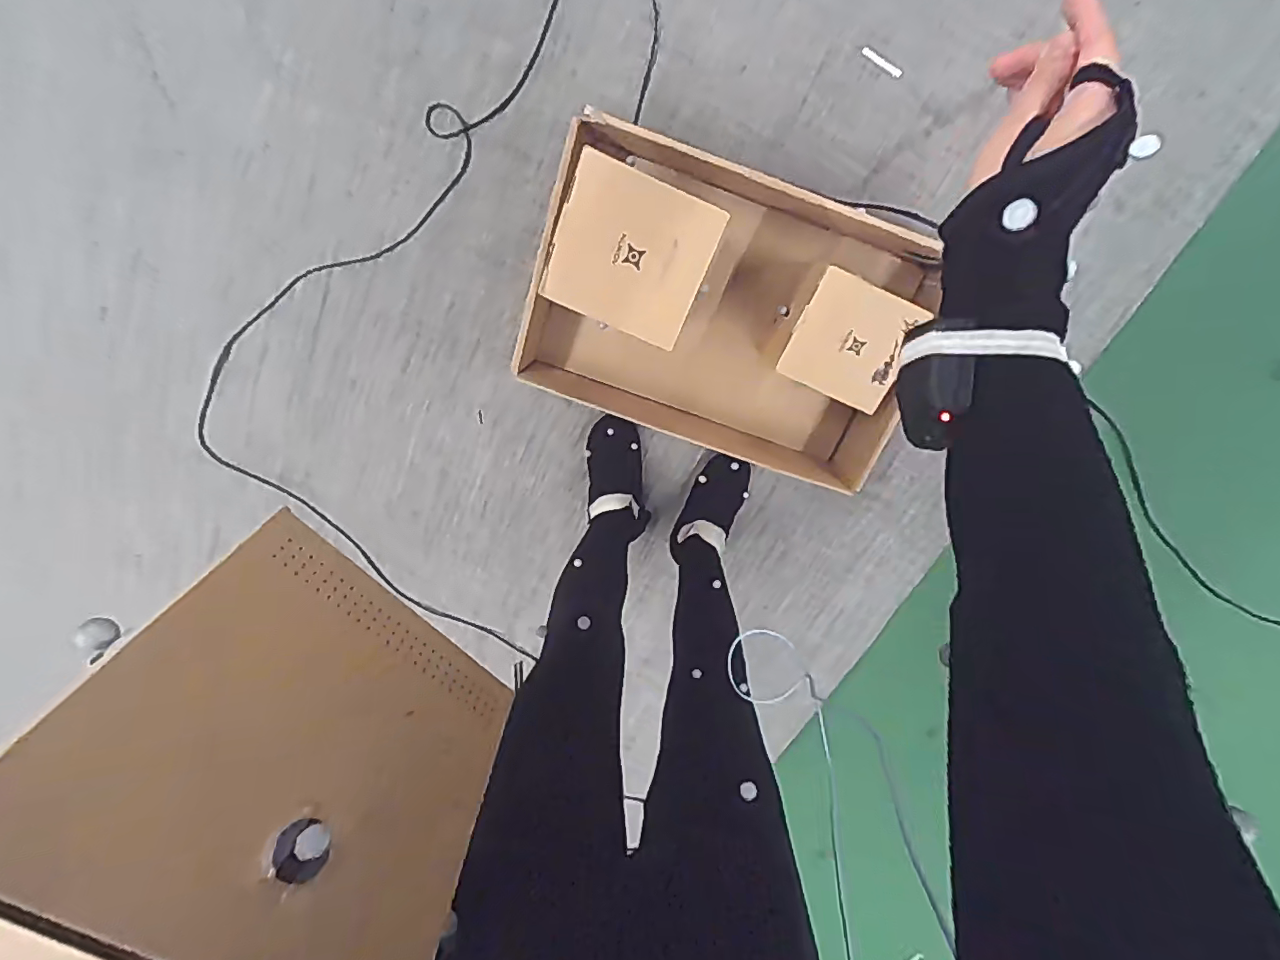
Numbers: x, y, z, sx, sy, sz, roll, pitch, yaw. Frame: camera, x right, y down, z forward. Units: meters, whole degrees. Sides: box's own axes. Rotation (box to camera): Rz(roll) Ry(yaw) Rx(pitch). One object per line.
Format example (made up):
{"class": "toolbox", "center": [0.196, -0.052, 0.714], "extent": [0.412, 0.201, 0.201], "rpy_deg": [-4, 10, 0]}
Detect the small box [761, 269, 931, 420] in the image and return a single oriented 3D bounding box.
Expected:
{"class": "small box", "center": [0.315, -0.221, 0.872], "extent": [0.179, 0.176, 0.168], "rpy_deg": [25, 111, -6]}

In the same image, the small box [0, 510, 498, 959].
{"class": "small box", "center": [-0.198, 0.148, 0.262], "extent": [0.168, 0.176, 0.179], "rpy_deg": [-31, 113, 18]}

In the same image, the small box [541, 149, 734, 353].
{"class": "small box", "center": [-0.003, -0.284, 0.690], "extent": [0.179, 0.176, 0.168], "rpy_deg": [23, 113, -7]}
